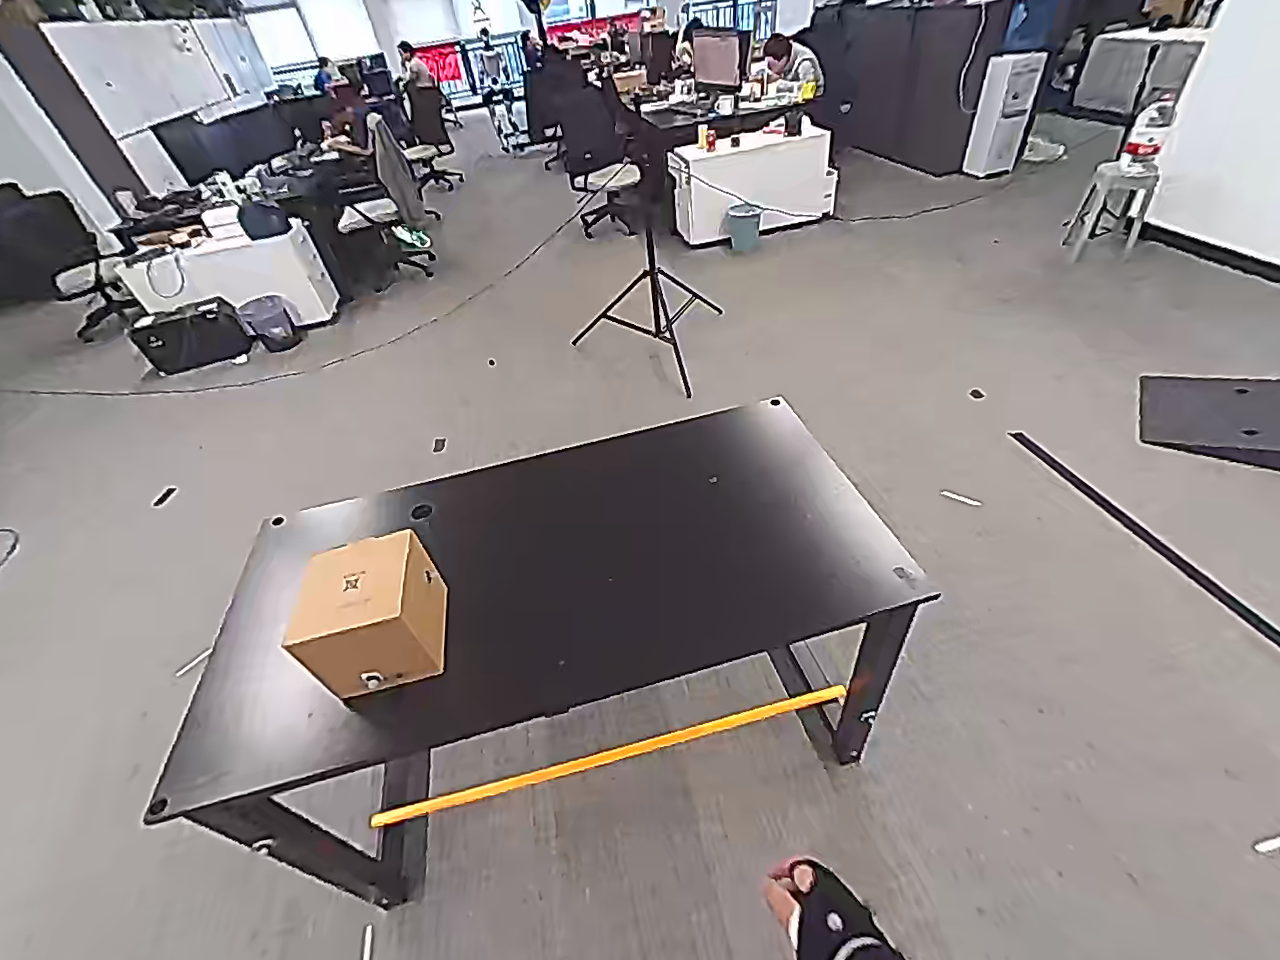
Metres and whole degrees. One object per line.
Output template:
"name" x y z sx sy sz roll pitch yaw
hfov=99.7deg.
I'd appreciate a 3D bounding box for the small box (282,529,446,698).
"small box" -0.419 0.211 0.856 0.168 0.176 0.179 -15 43 -5
